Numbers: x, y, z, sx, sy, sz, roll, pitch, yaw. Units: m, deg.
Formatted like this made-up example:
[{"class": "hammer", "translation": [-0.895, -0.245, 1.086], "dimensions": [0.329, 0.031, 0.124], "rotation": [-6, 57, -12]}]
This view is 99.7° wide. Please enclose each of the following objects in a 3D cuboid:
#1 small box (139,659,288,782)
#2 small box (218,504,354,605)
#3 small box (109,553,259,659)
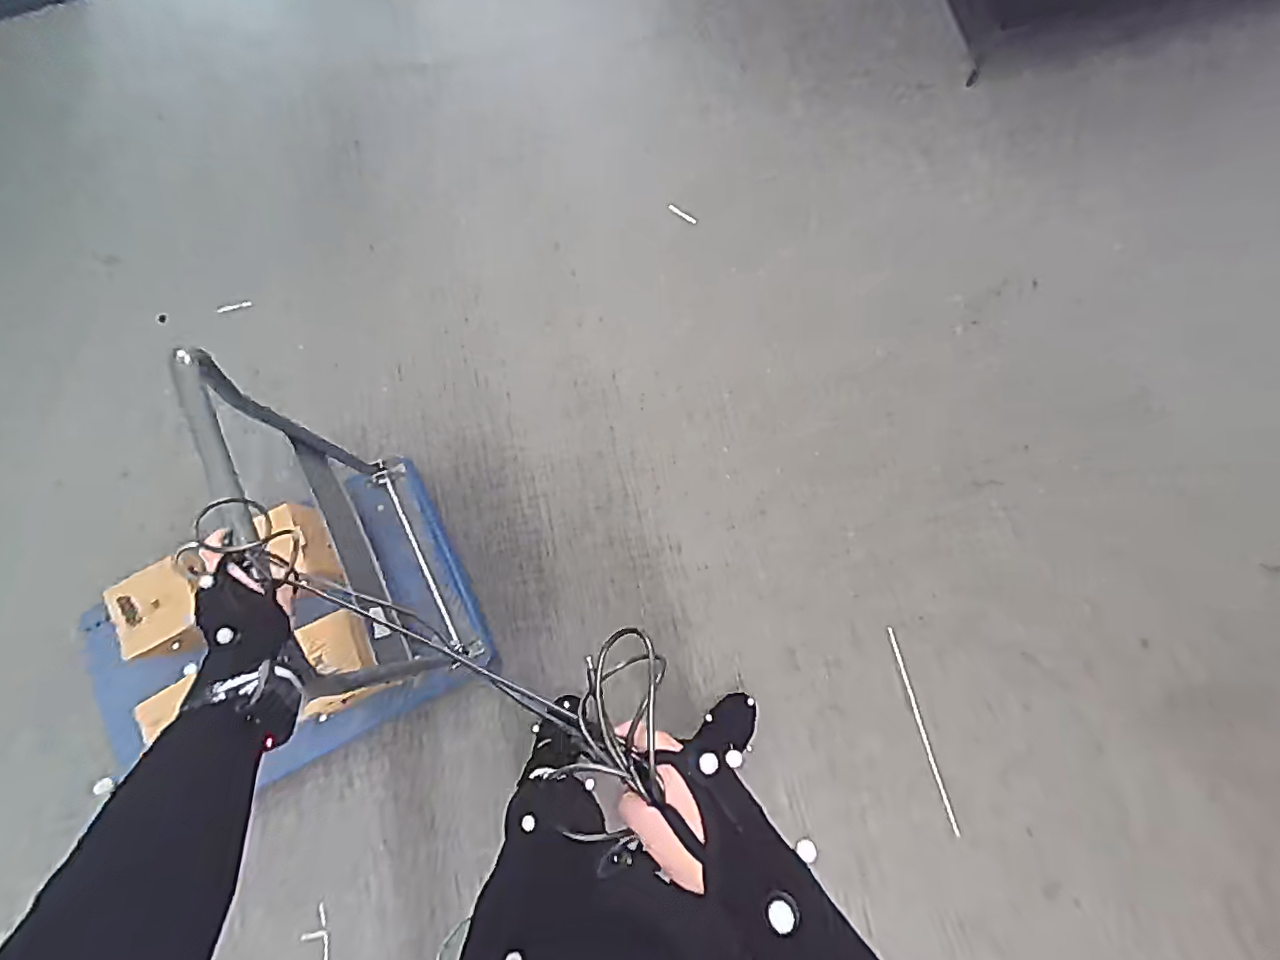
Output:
[{"class": "small box", "translation": [-0.902, 0.504, 1.166], "dimensions": [0.179, 0.176, 0.168], "rotation": [-30, 77, -4]}, {"class": "small box", "translation": [-0.799, 0.175, 1.233], "dimensions": [0.179, 0.176, 0.168], "rotation": [-26, 78, -3]}, {"class": "small box", "translation": [-1.019, 0.282, 1.220], "dimensions": [0.179, 0.176, 0.168], "rotation": [-29, 78, -4]}]
